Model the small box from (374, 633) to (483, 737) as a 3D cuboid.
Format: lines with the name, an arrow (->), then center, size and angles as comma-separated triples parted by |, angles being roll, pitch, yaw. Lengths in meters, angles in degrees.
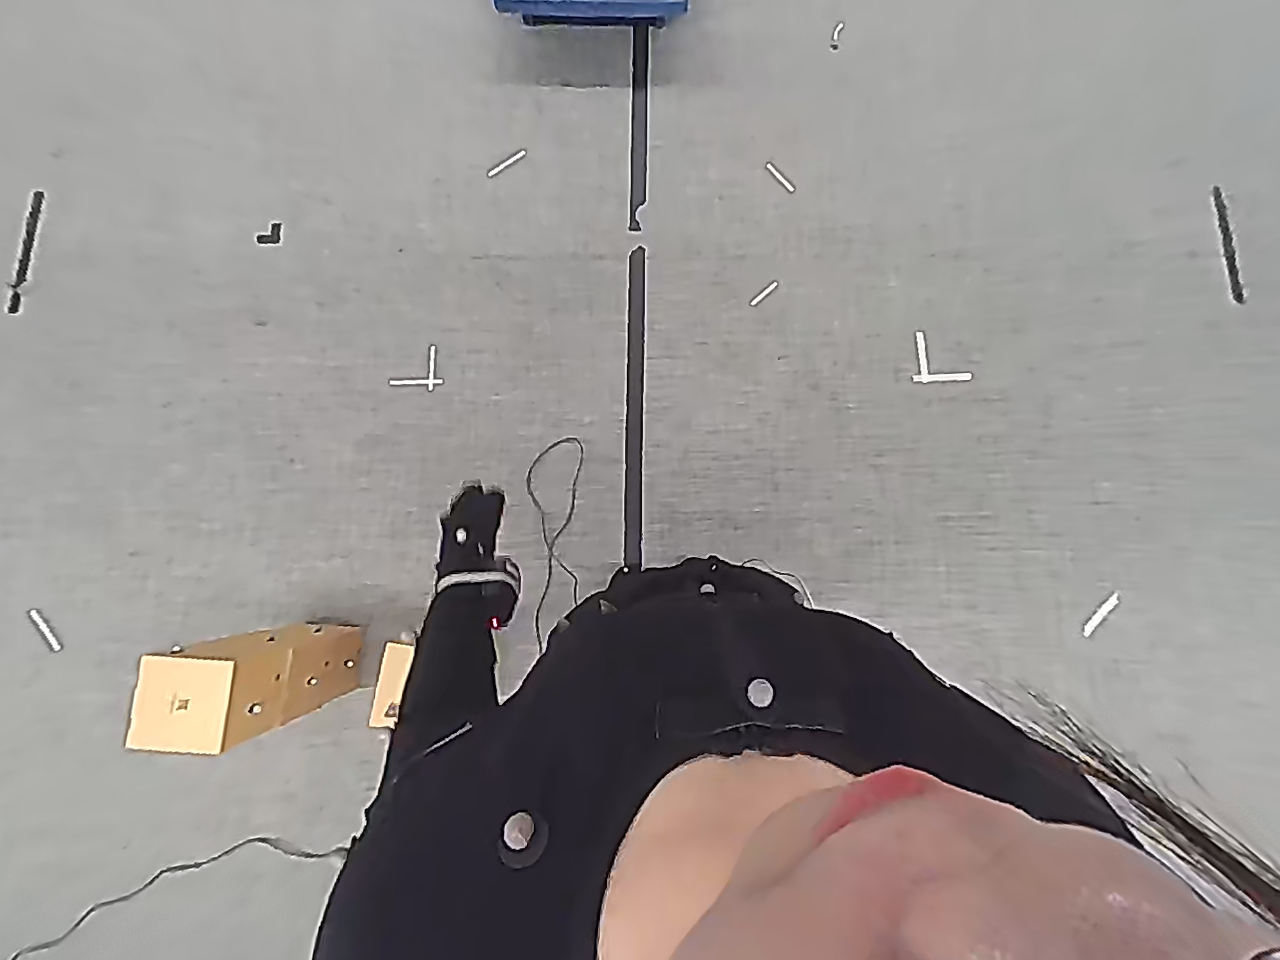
small box -> -0.473, 0.460, 1.236 | 0.168, 0.176, 0.179 | 9, 81, 1

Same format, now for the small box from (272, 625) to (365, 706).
small box -> -0.840, 0.472, 1.397 | 0.179, 0.176, 0.168 | 4, 81, 0

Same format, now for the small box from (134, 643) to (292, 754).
small box -> -0.831, 0.424, 1.072 | 0.179, 0.176, 0.168 | 3, 82, 1

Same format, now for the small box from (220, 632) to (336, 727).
small box -> -0.829, 0.447, 1.233 | 0.179, 0.176, 0.168 | 5, 82, 1

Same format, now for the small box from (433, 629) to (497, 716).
small box -> -0.478, 0.488, 1.398 | 0.168, 0.176, 0.179 | 7, 82, 1
